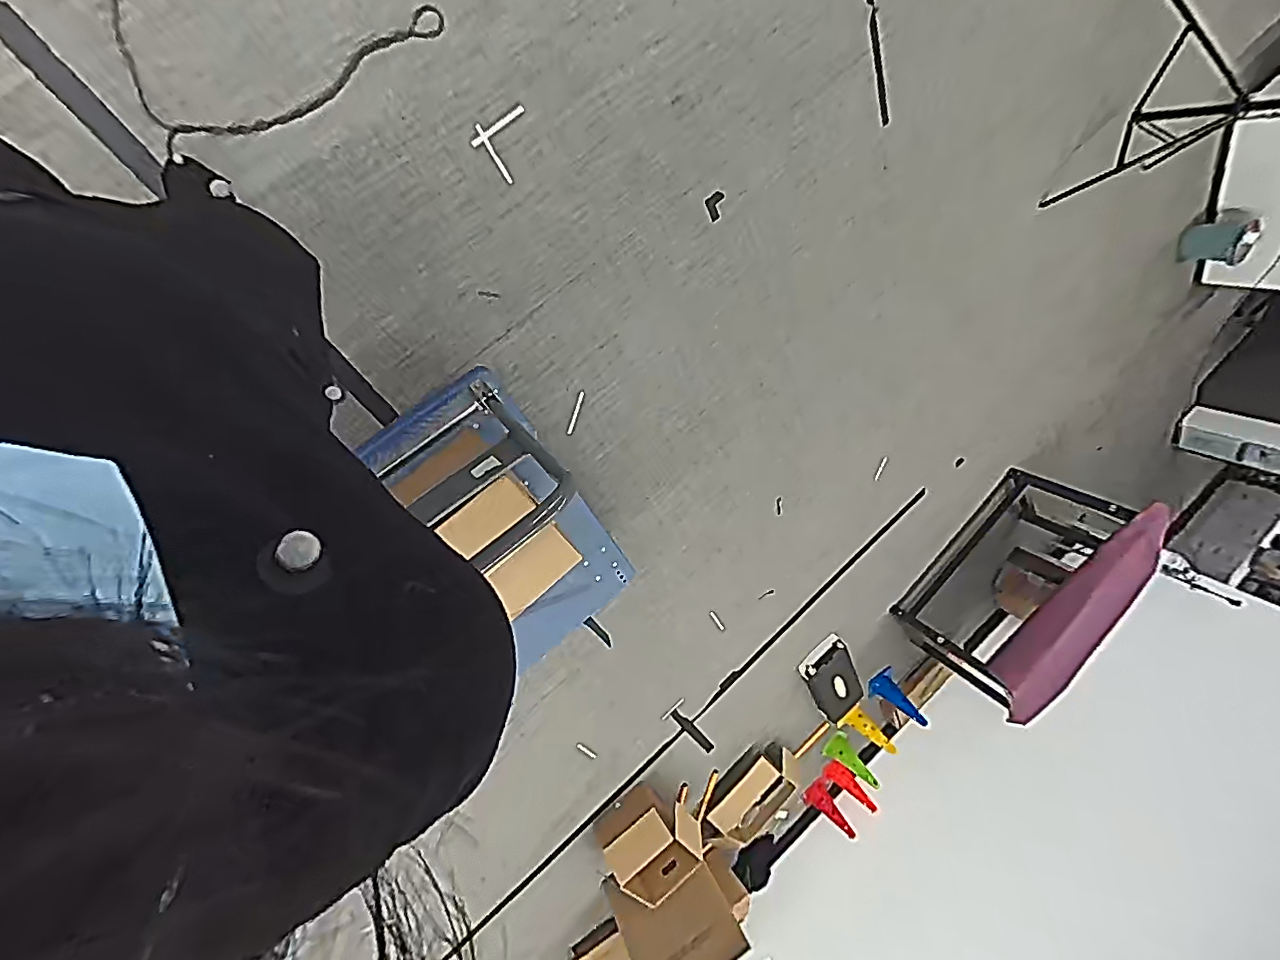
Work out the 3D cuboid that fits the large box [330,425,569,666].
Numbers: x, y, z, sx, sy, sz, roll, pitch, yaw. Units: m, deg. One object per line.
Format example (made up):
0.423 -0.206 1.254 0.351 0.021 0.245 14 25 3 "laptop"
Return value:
-0.452 0.142 1.283 0.408 0.320 0.320 -41 127 -7 "large box"
